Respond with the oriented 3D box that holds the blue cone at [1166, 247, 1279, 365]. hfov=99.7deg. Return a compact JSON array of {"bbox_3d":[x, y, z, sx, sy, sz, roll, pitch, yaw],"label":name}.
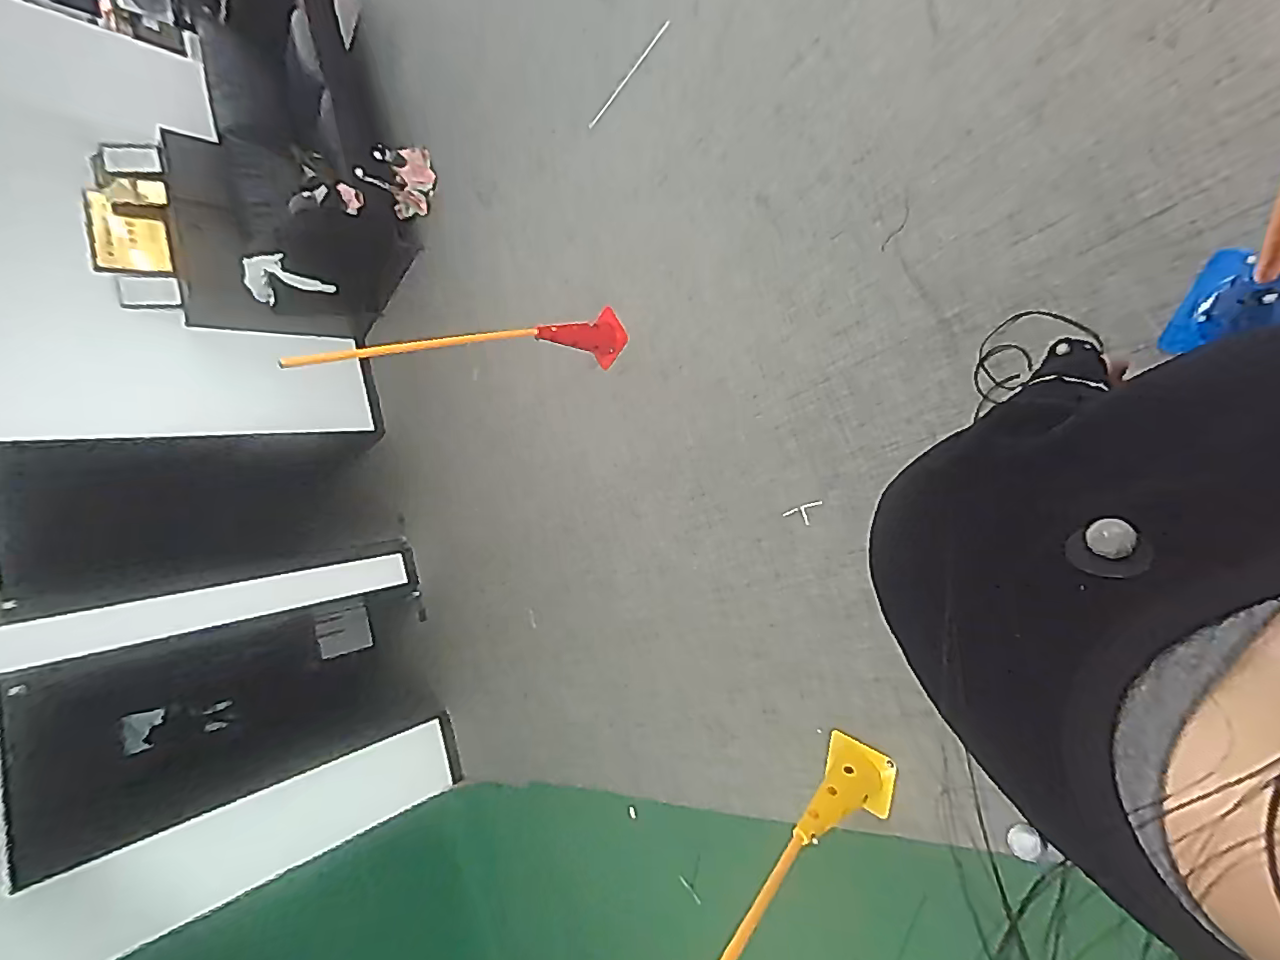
[{"bbox_3d":[1.002,-0.314,0.877,0.192,0.380,0.193,34,116,38],"label":"blue cone"}]
